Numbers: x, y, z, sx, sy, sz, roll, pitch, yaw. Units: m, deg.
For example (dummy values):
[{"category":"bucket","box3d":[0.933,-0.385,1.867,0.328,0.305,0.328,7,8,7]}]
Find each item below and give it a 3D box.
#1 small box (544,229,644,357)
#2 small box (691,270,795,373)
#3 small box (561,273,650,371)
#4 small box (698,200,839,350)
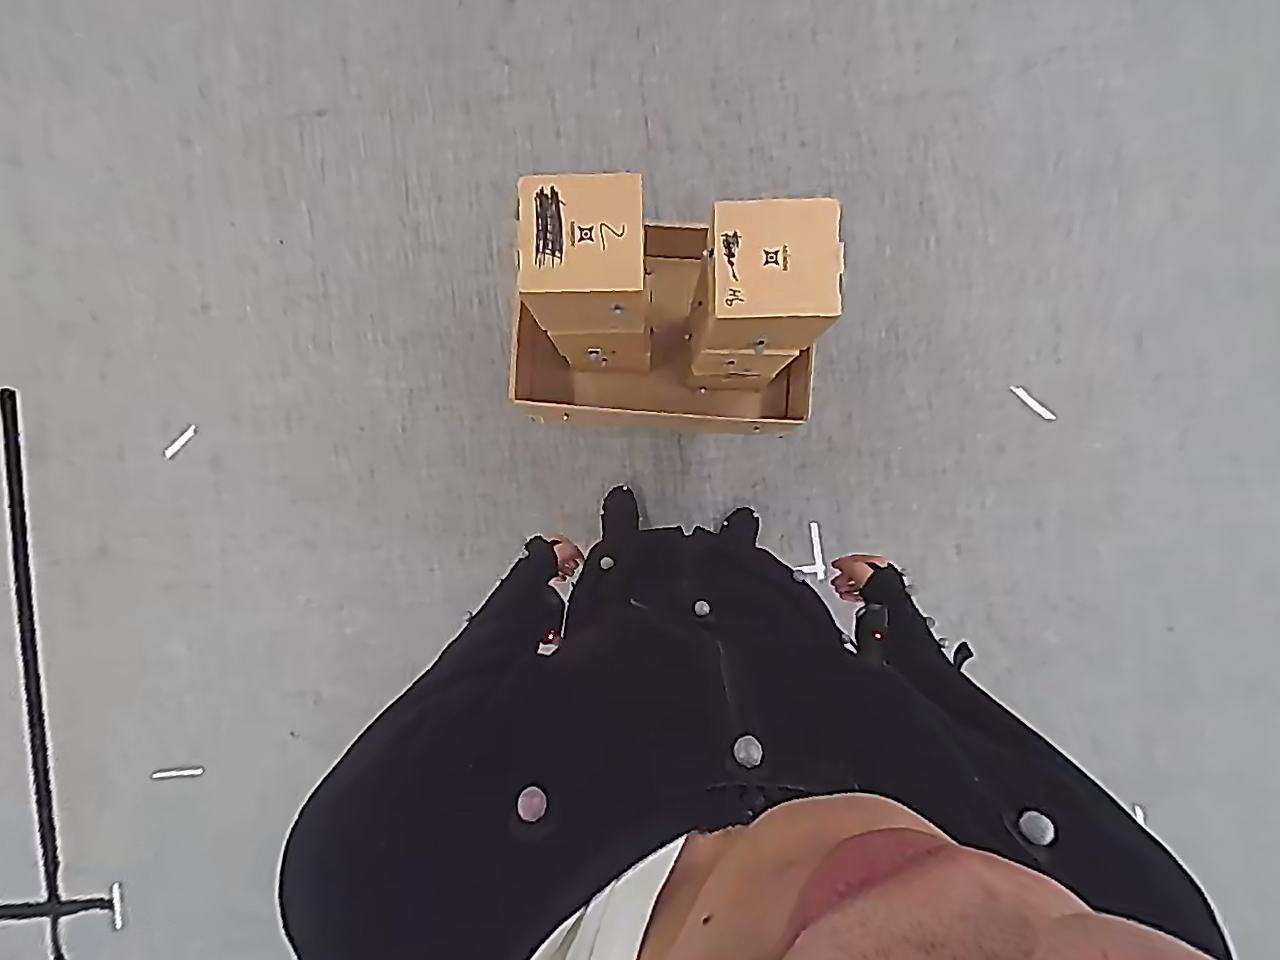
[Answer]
[{"category":"small box","box3d":[-0.079,-0.333,0.987,0.168,0.176,0.179,-2,89,2]},{"category":"small box","box3d":[0.185,-0.296,0.988,0.168,0.176,0.179,2,89,0]},{"category":"small box","box3d":[-0.069,-0.330,1.151,0.179,0.176,0.168,1,90,0]},{"category":"small box","box3d":[0.186,-0.301,0.824,0.179,0.176,0.168,0,88,0]}]
